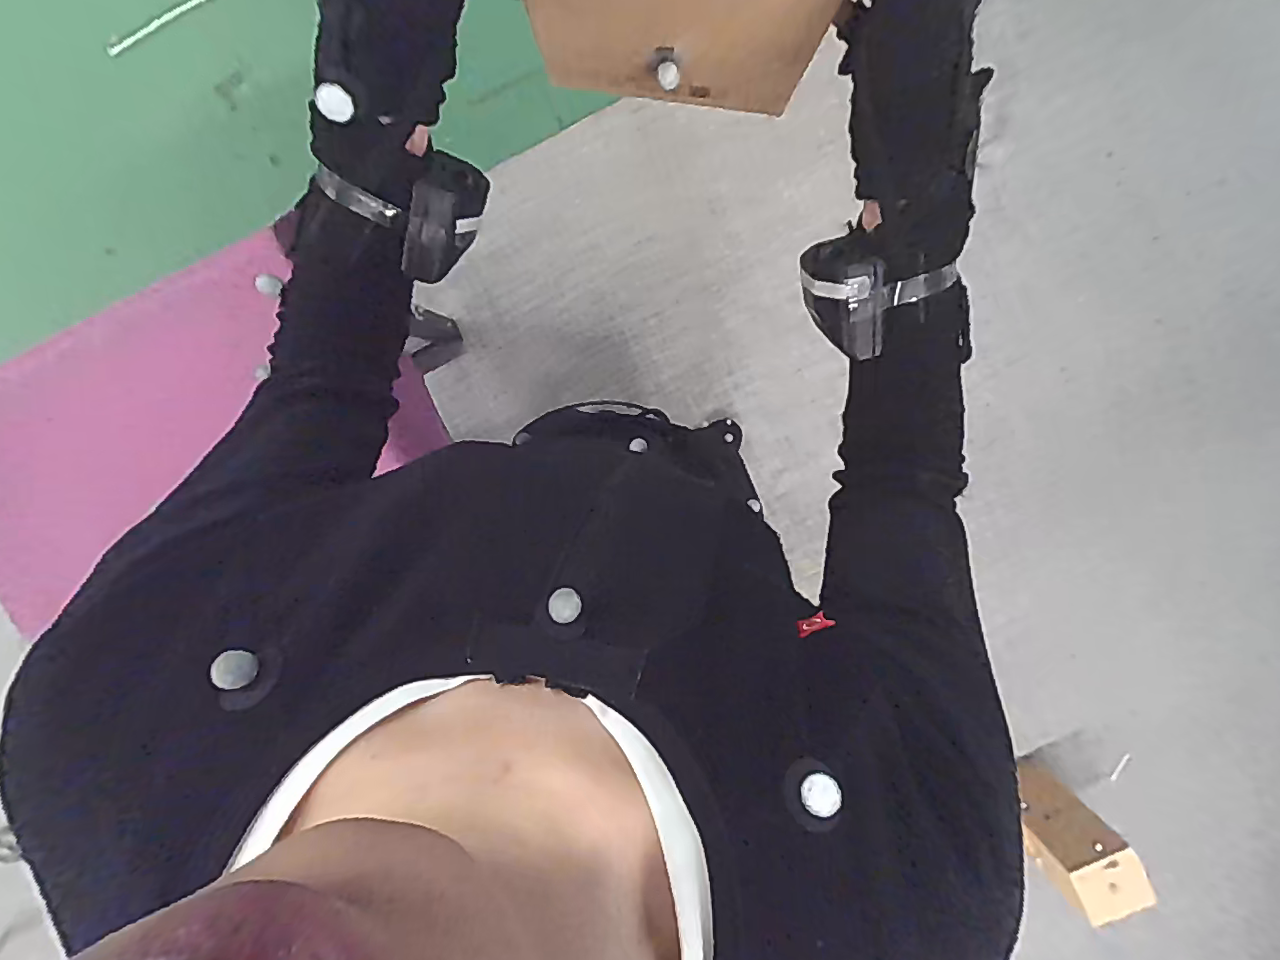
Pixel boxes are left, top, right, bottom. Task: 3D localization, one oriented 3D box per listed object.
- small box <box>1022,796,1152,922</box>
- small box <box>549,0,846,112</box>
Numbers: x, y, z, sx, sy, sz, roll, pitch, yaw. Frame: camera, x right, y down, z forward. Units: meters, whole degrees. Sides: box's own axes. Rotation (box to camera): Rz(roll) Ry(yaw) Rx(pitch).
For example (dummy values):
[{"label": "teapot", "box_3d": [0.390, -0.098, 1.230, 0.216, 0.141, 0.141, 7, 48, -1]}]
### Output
[{"label": "small box", "box_3d": [1.134, 0.961, 1.383, 0.168, 0.176, 0.179, -27, 99, 4]}, {"label": "small box", "box_3d": [0.035, -0.339, 0.284, 0.168, 0.176, 0.179, 9, 101, -1]}]
